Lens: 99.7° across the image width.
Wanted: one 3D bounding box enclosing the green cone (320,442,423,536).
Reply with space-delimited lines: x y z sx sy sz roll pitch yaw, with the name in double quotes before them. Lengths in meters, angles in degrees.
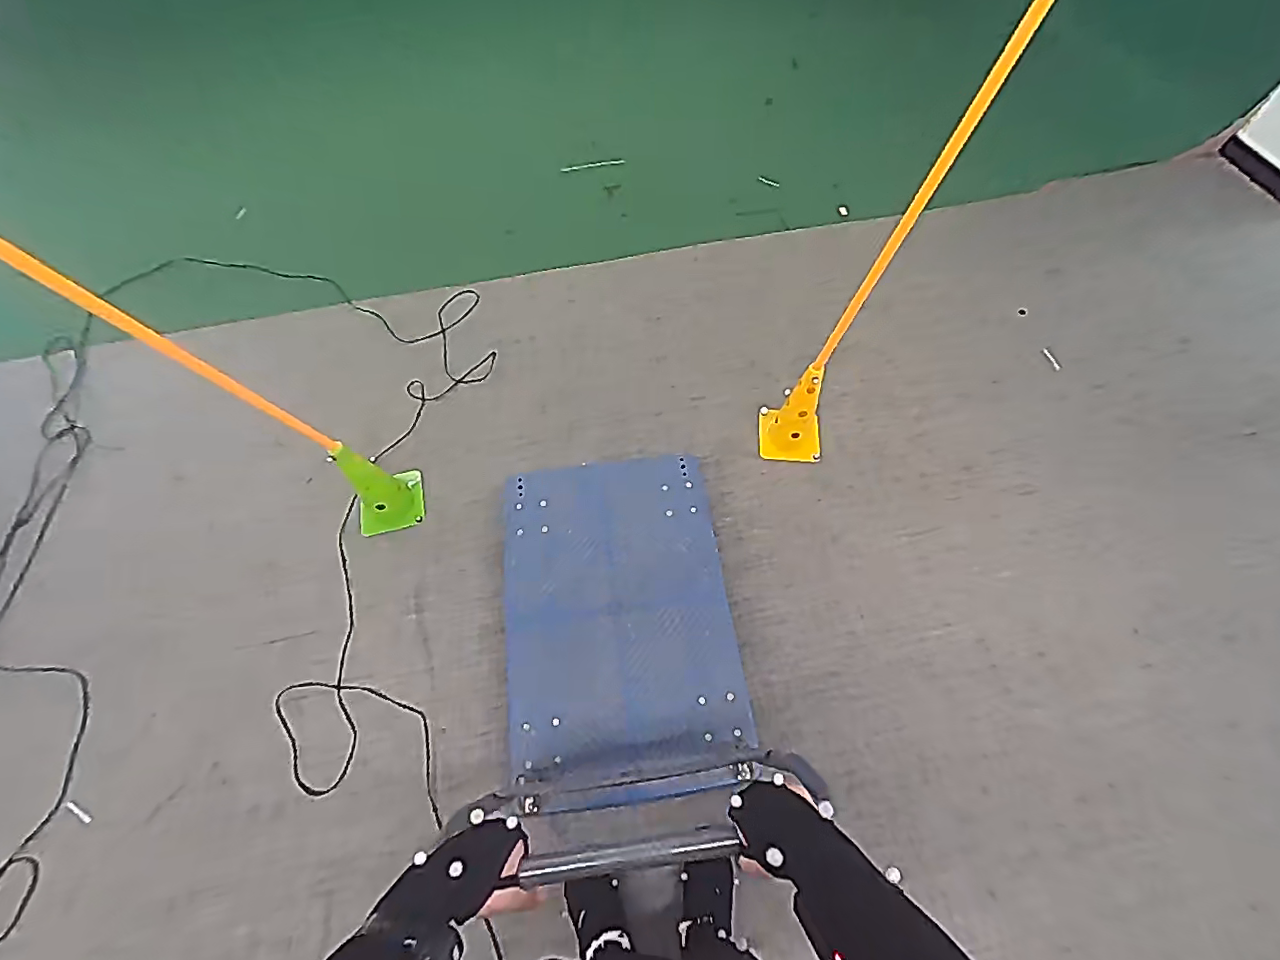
"green cone" -0.813 -0.007 1.588 0.202 0.368 0.200 -15 63 -4
